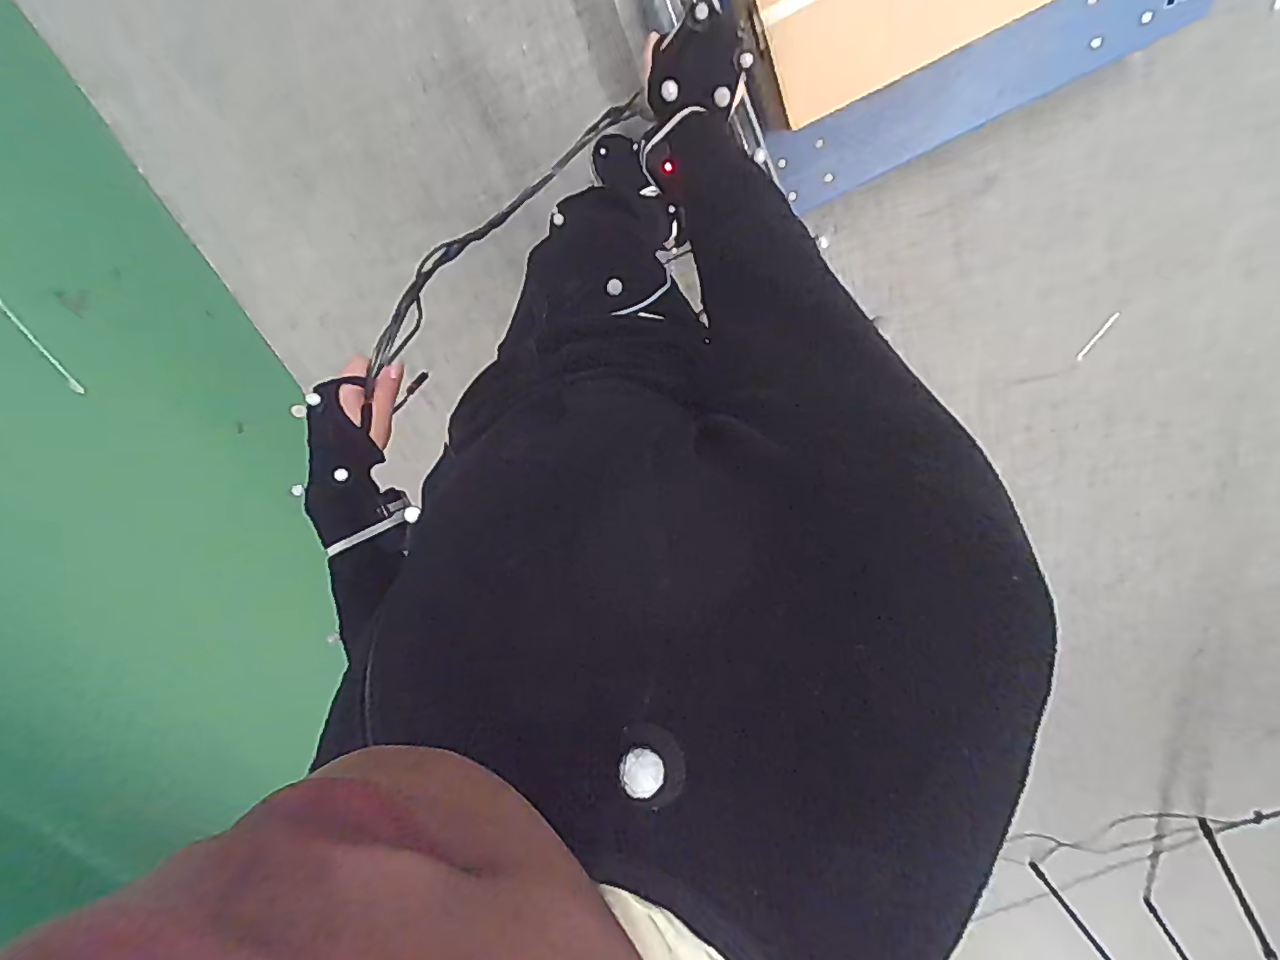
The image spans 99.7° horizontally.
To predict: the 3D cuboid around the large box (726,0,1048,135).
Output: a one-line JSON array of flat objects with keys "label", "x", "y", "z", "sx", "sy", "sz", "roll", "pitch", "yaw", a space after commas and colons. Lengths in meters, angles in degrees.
[{"label": "large box", "x": 0.368, "y": -0.824, "z": 0.881, "sx": 0.408, "sy": 0.320, "sz": 0.320, "roll": -19, "pitch": 119, "yaw": 16}]
